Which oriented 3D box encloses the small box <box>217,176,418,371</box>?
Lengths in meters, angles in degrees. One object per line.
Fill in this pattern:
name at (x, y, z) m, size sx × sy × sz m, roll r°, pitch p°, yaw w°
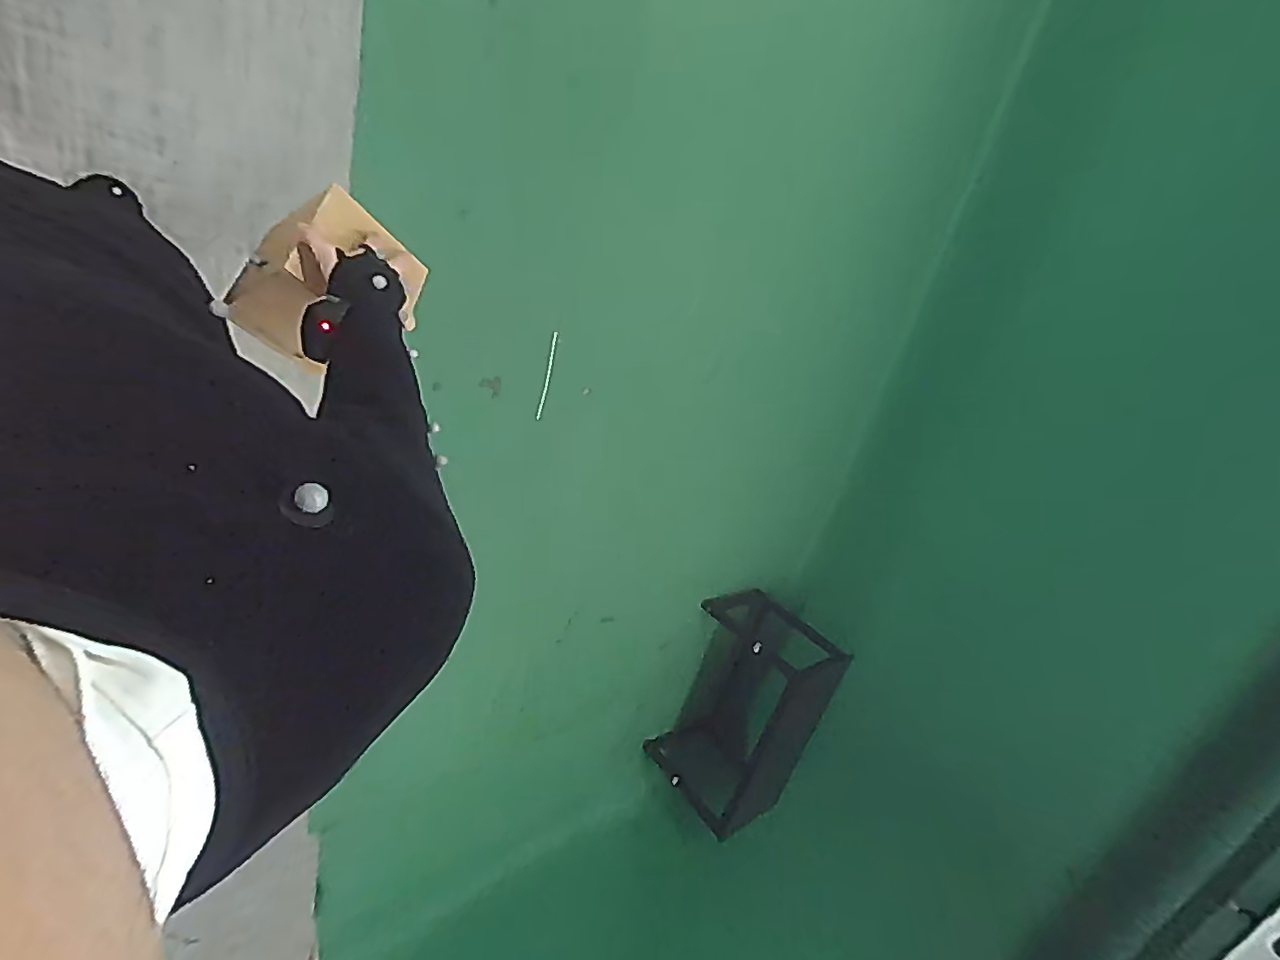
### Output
small box at (-0.463, -0.284, 0.782) m, size 0.168 × 0.176 × 0.179 m, roll 42°, pitch 45°, yaw -48°
